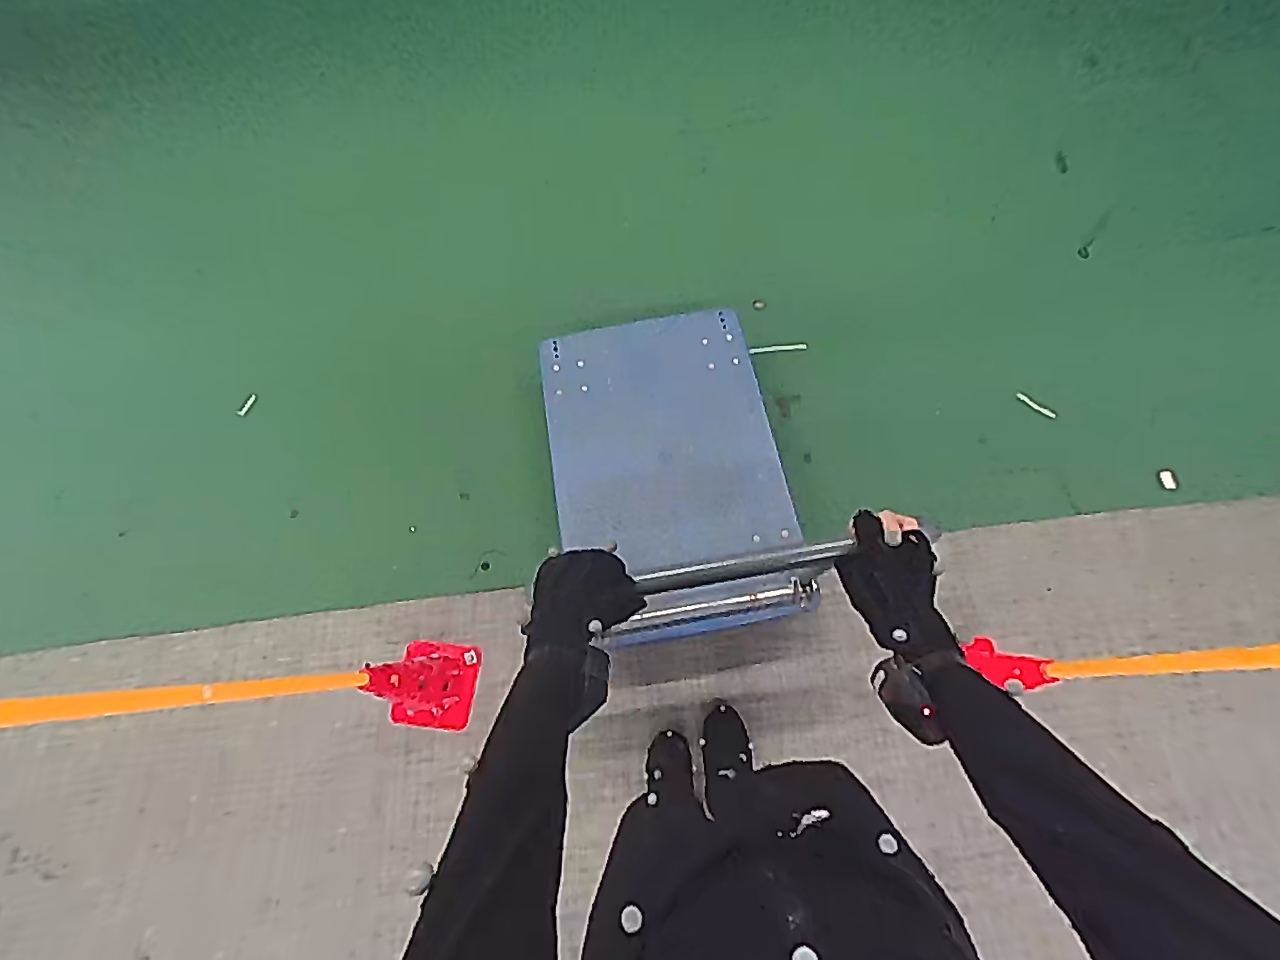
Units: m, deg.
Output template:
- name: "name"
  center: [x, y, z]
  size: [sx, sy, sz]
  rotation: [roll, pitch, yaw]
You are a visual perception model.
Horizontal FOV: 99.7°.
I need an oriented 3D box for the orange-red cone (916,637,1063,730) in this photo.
- name: "orange-red cone"
  center: [0.763, 0.424, 1.145]
  size: [0.198, 0.360, 0.199]
  rotation: [3, 69, 5]
